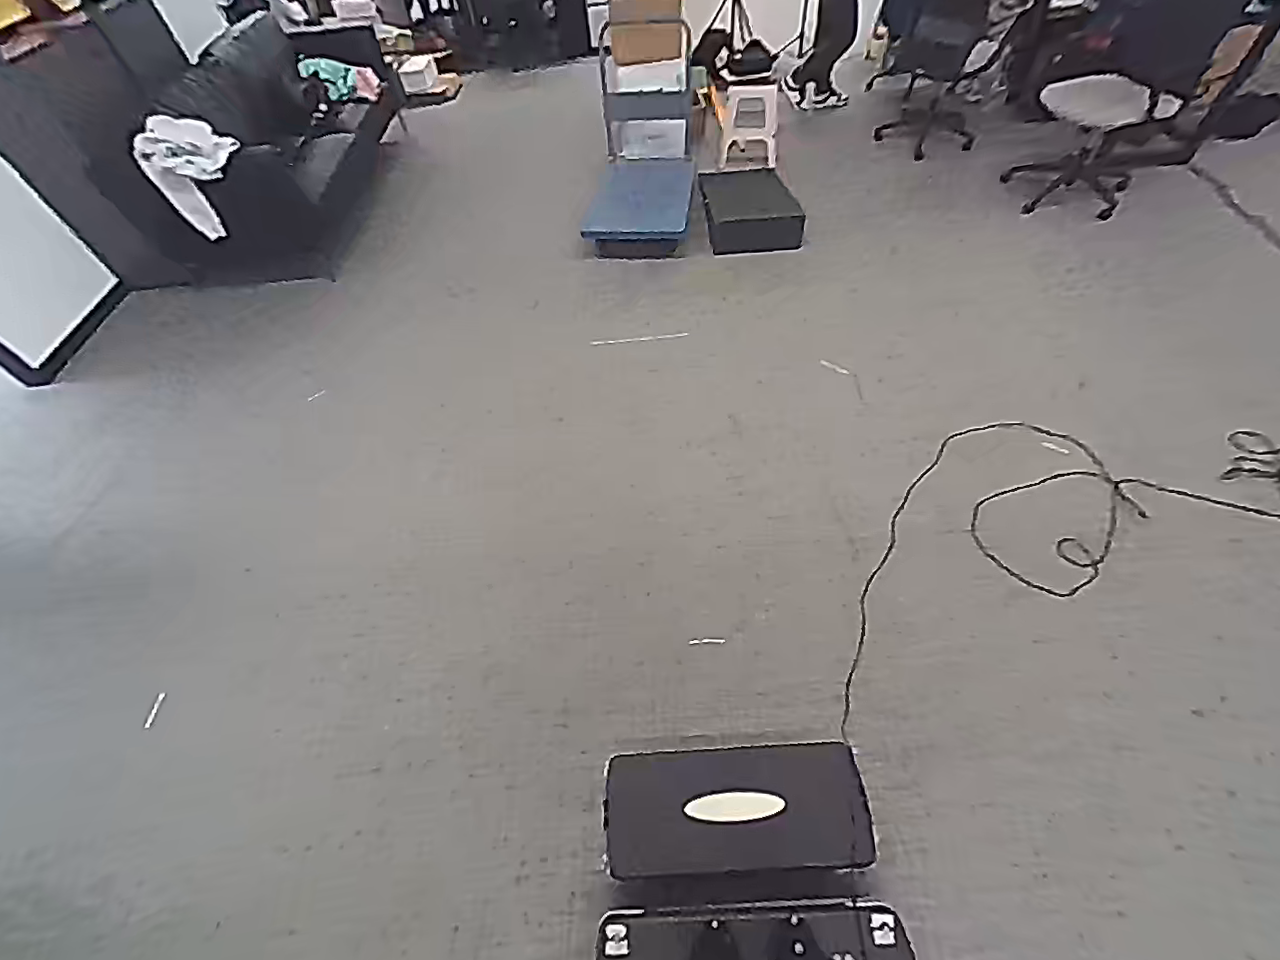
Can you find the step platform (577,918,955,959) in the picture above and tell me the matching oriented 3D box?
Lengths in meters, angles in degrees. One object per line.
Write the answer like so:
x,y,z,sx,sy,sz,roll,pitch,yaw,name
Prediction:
0.224,0.979,0.964,0.684,0.204,0.286,-3,52,1,step platform
